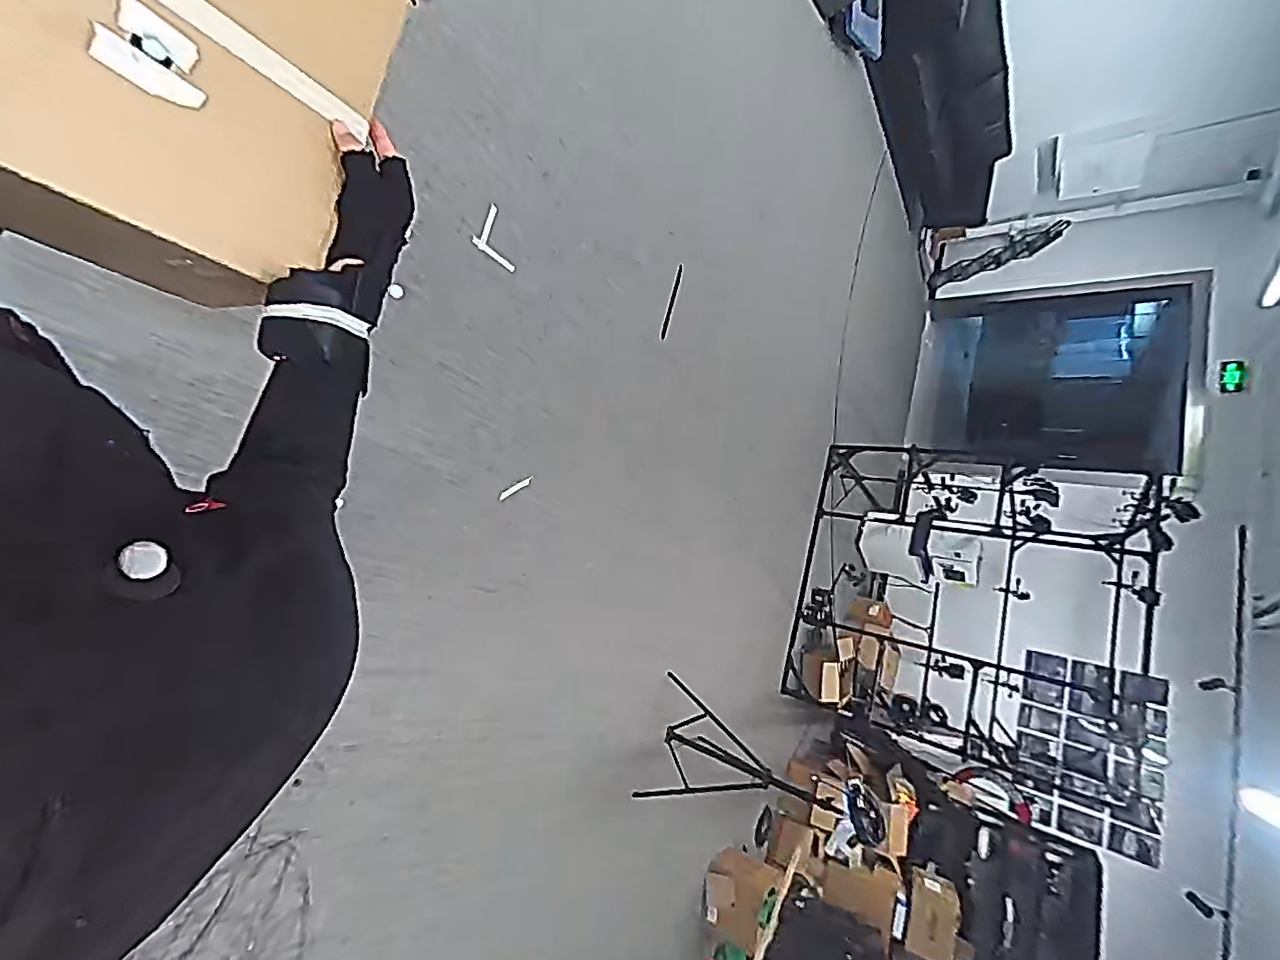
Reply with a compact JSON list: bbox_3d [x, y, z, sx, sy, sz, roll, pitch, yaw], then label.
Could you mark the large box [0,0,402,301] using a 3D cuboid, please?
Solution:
[{"bbox_3d":[-0.486,-0.374,0.421,0.408,0.320,0.320,21,85,-52],"label":"large box"}]
